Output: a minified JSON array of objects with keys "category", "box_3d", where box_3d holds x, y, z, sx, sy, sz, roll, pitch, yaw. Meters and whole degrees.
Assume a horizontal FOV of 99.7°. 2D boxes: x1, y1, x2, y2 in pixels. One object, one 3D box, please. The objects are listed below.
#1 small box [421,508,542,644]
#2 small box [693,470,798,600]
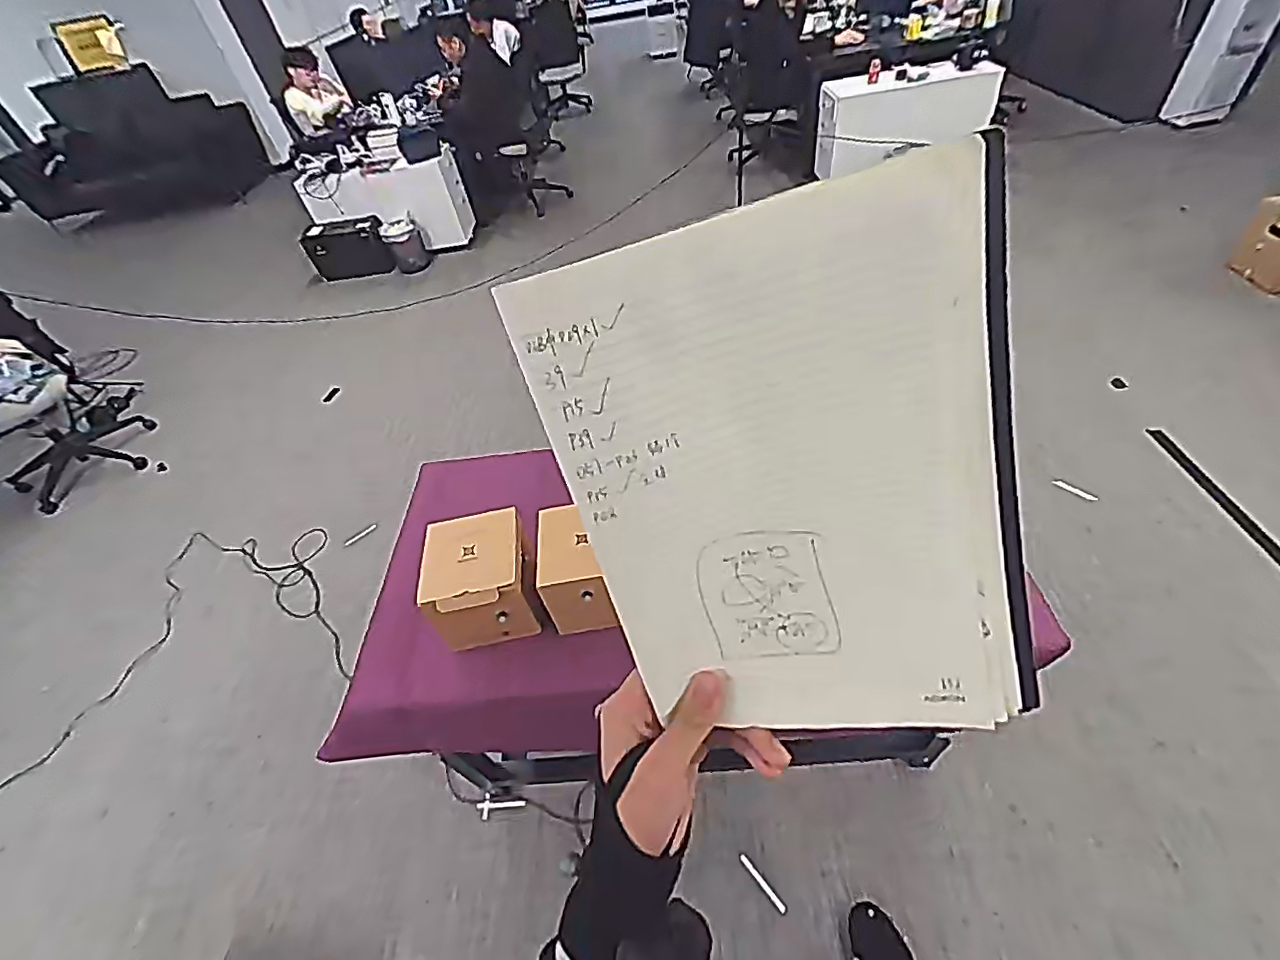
[{"category":"small box","box_3d":[-0.280,0.183,0.995,0.168,0.176,0.179,-12,46,-1]},{"category":"small box","box_3d":[0.186,0.105,0.976,0.168,0.176,0.179,-4,46,7]}]
